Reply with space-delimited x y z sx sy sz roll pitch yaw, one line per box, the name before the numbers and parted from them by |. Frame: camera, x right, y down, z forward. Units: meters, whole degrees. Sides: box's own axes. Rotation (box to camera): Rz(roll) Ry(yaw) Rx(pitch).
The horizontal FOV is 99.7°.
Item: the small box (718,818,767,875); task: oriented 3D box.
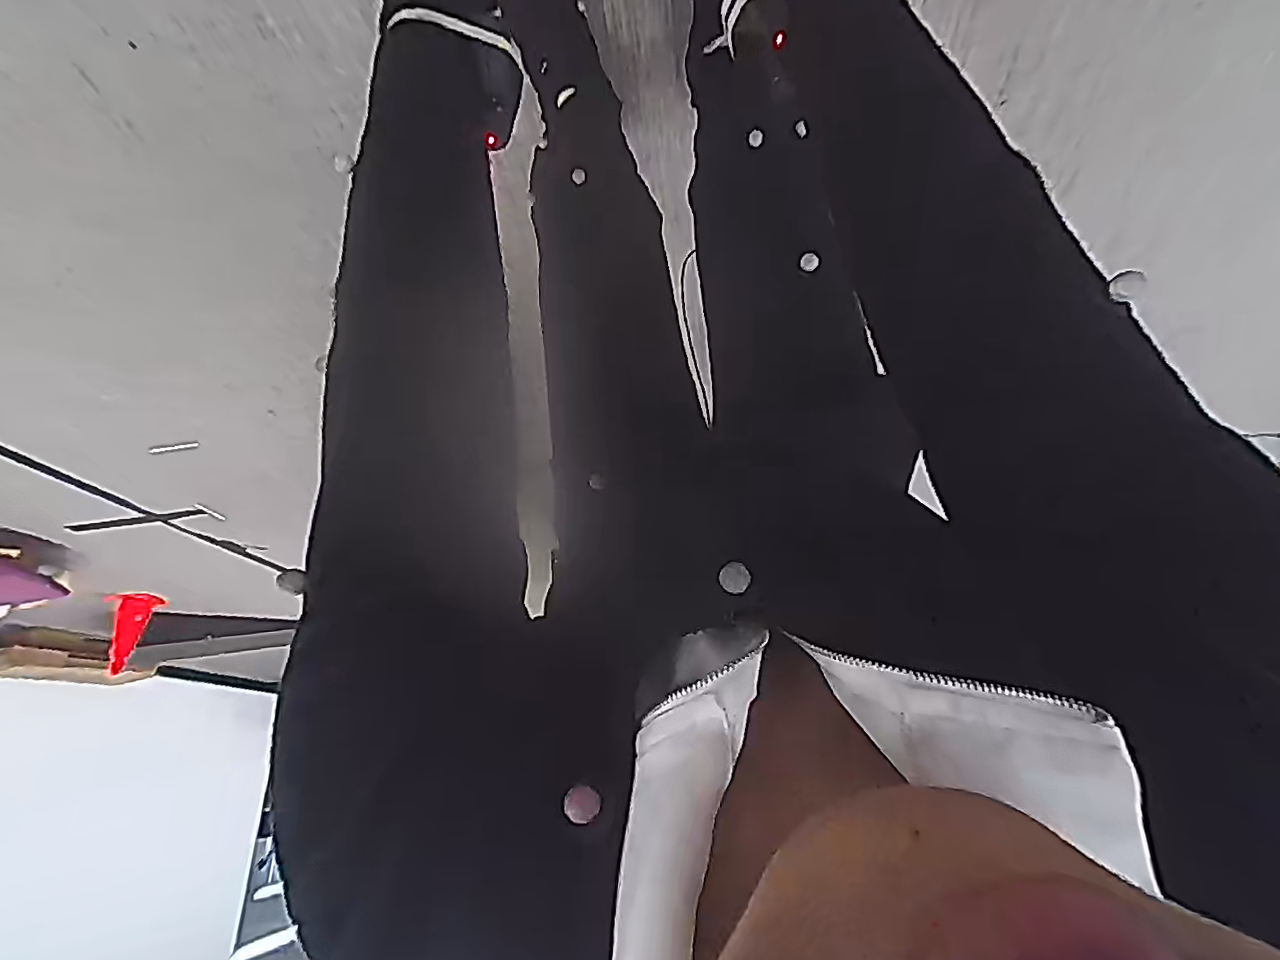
small box | 0.420 1.507 2.233 0.179 0.176 0.168 -9 156 8
